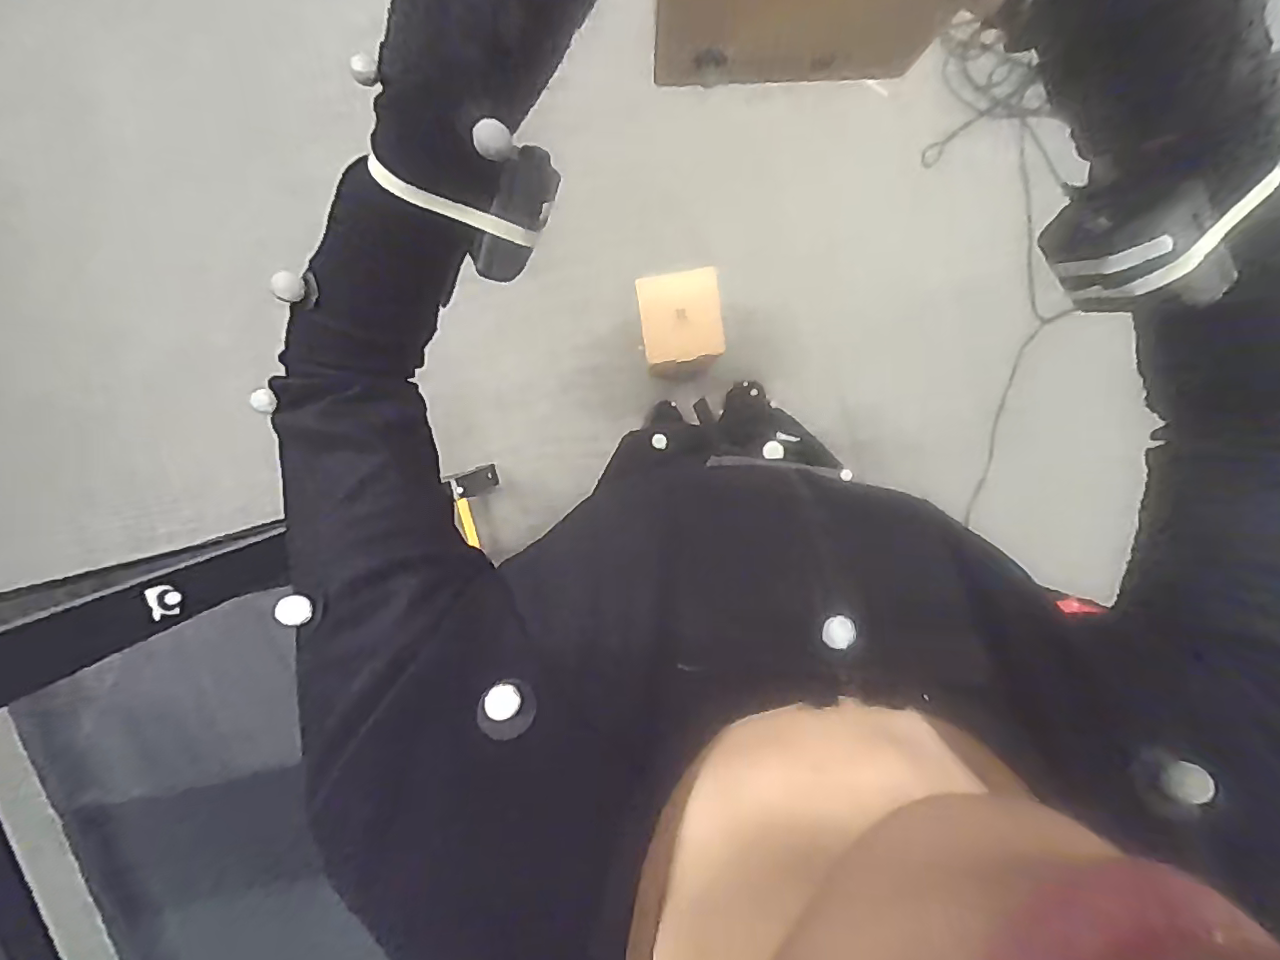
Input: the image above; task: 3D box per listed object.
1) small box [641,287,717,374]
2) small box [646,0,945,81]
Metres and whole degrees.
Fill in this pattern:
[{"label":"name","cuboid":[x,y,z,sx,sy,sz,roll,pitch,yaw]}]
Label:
[{"label":"small box","cuboid":[0.094,-0.365,1.347,0.168,0.176,0.179,-7,98,3]},{"label":"small box","cuboid":[0.086,-0.333,0.269,0.168,0.176,0.179,-2,99,0]}]
